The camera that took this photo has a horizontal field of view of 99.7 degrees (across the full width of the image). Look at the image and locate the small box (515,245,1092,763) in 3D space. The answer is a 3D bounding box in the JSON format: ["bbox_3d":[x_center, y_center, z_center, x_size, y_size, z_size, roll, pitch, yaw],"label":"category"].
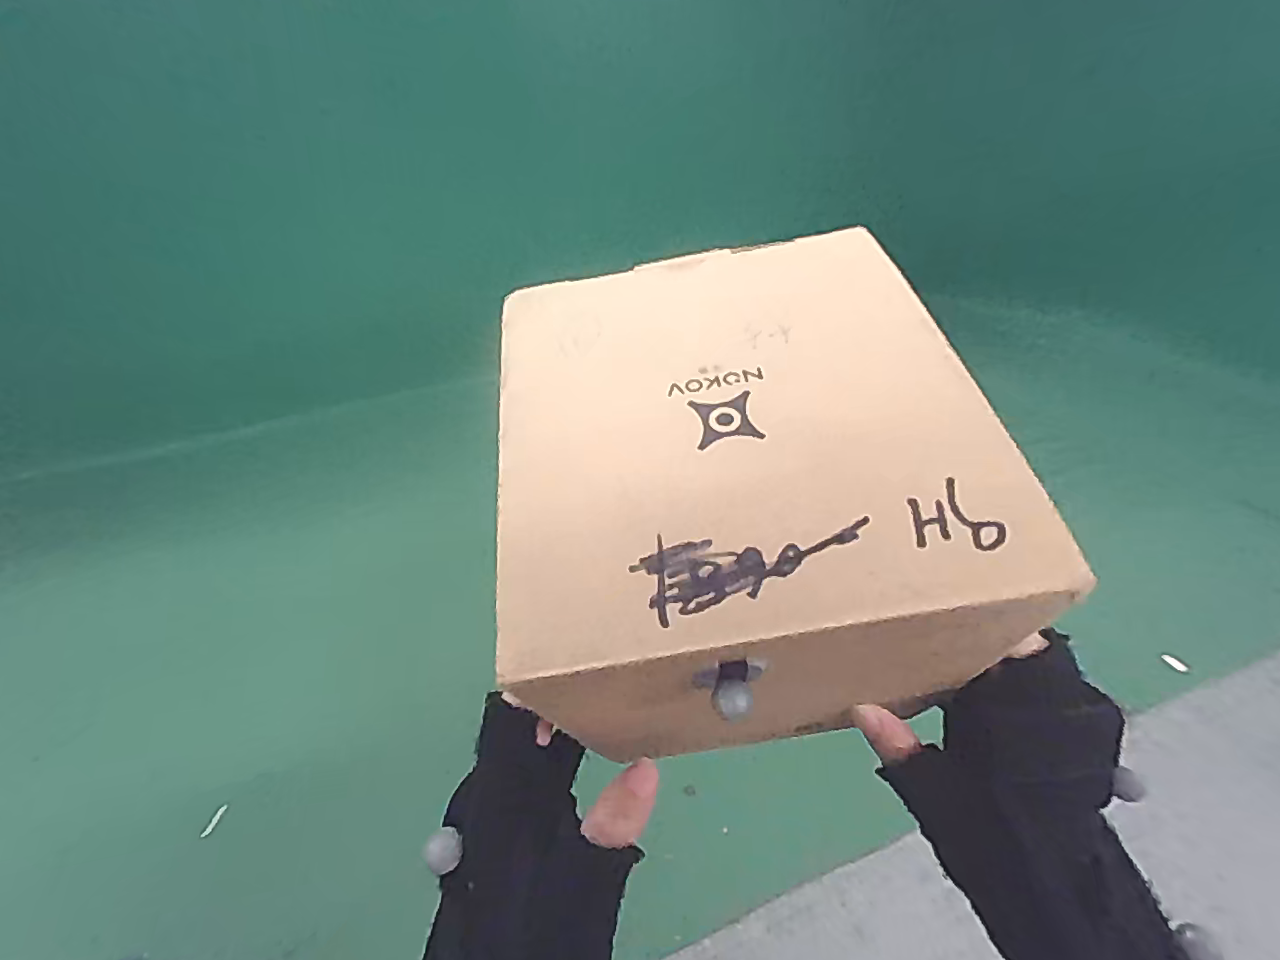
[{"bbox_3d":[0.048,0.022,0.266,0.168,0.176,0.179,-11,54,4],"label":"small box"}]
